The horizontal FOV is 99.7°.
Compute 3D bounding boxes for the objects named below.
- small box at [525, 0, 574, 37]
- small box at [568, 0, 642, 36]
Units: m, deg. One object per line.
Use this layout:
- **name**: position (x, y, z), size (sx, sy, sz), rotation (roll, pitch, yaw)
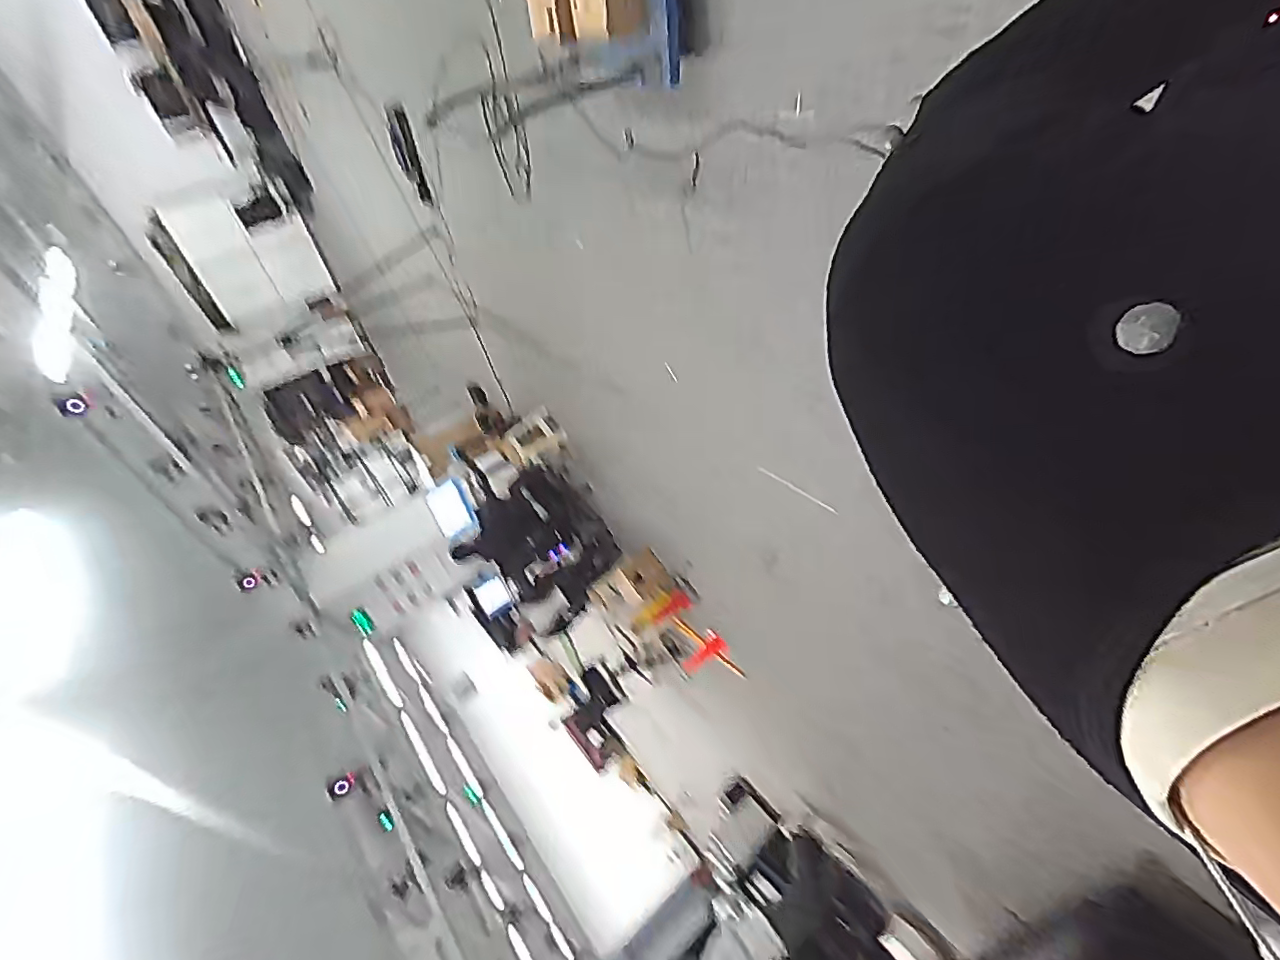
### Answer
- **small box**: position (-0.275, -1.629, 1.834), size (0.179, 0.176, 0.168), rotation (39, 150, 35)
- **small box**: position (-0.107, -1.501, 1.678), size (0.179, 0.176, 0.168), rotation (35, 148, 38)
